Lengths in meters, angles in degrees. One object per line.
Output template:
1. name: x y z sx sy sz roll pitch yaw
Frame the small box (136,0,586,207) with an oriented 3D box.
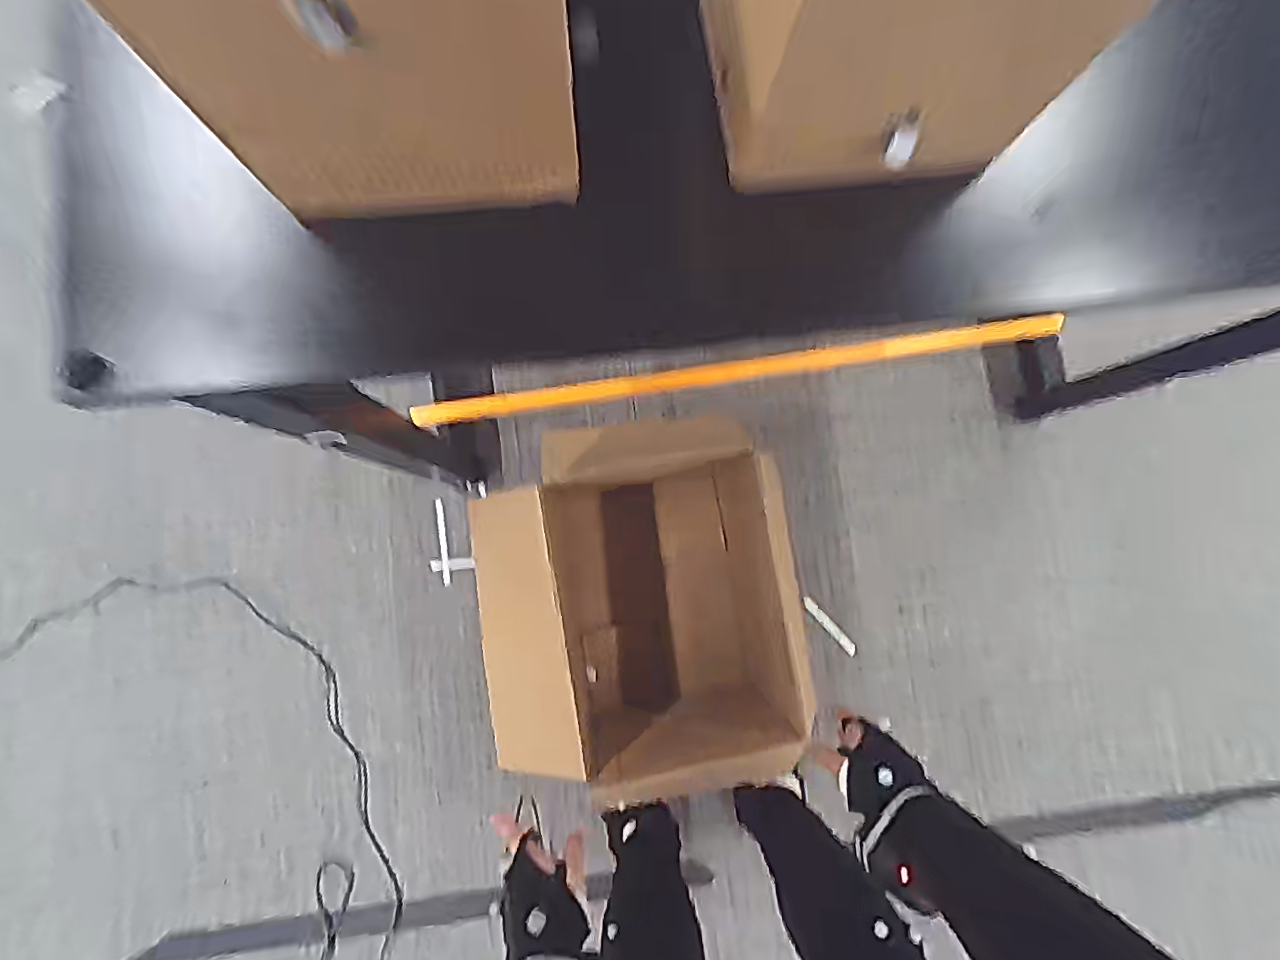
1. small box: -0.121 -0.255 0.258 0.179 0.176 0.168 -6 85 -5
